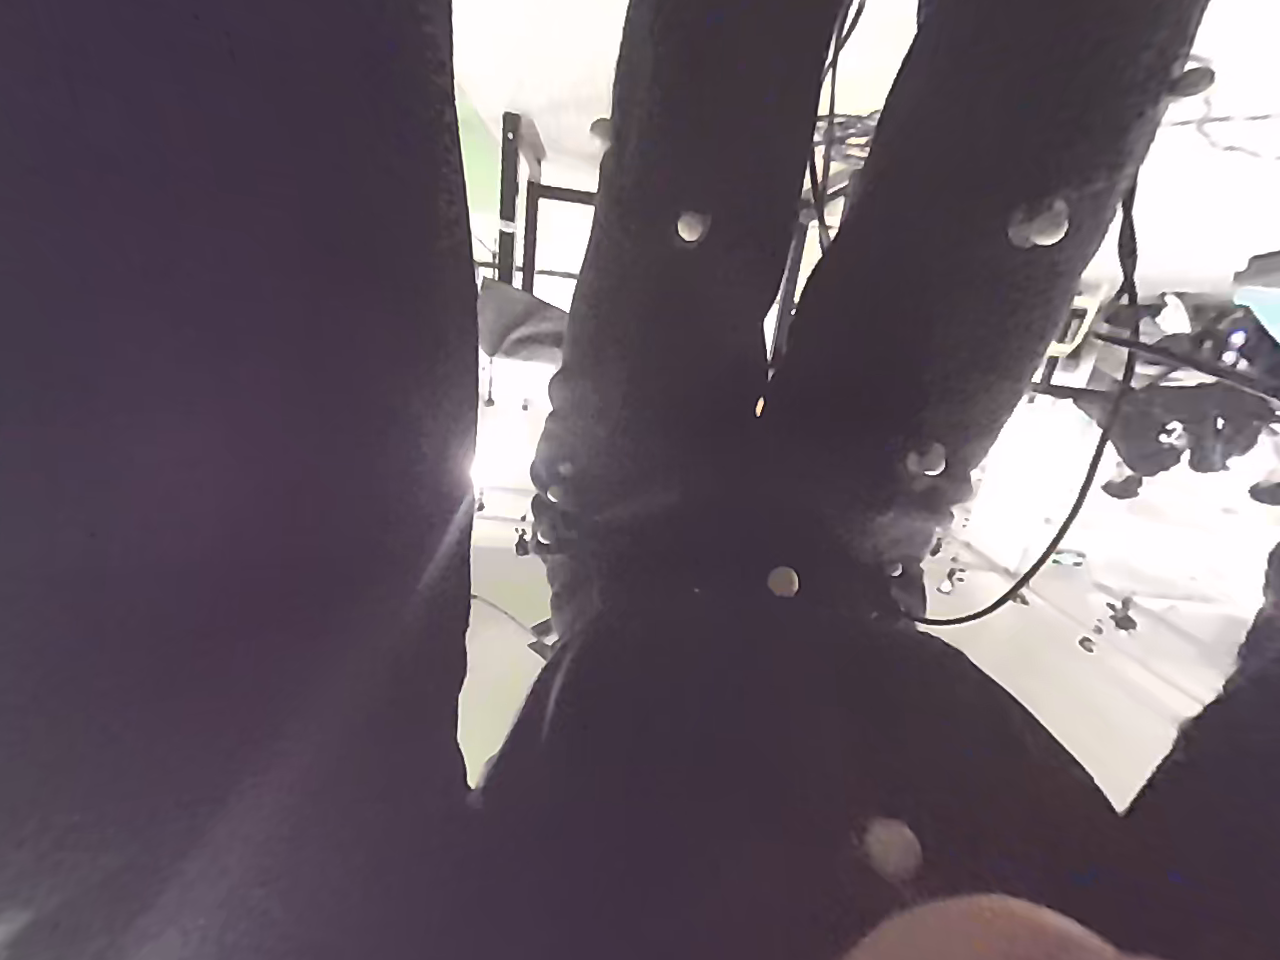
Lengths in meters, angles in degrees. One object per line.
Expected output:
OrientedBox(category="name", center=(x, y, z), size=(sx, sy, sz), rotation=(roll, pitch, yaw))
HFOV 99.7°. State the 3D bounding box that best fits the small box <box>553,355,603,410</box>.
OrientedBox(category="small box", center=(-0.234, -0.370, 2.034), size=(0.179, 0.176, 0.168), rotation=(5, -162, -8))
